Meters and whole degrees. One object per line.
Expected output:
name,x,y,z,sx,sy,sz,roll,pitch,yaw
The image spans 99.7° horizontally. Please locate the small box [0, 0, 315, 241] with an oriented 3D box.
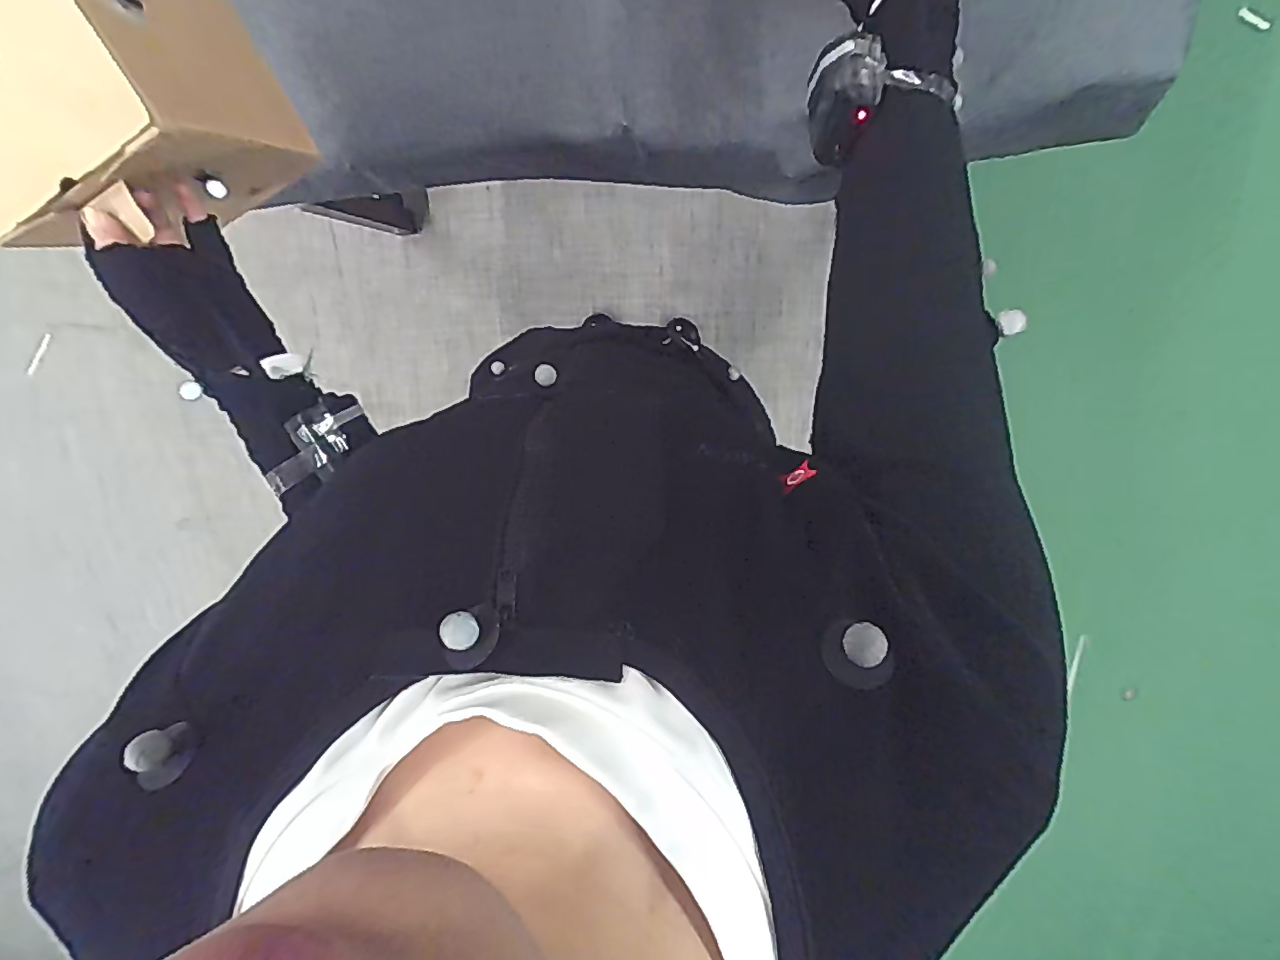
small box,-0.384,-0.292,0.383,0.168,0.176,0.179,-22,110,15
